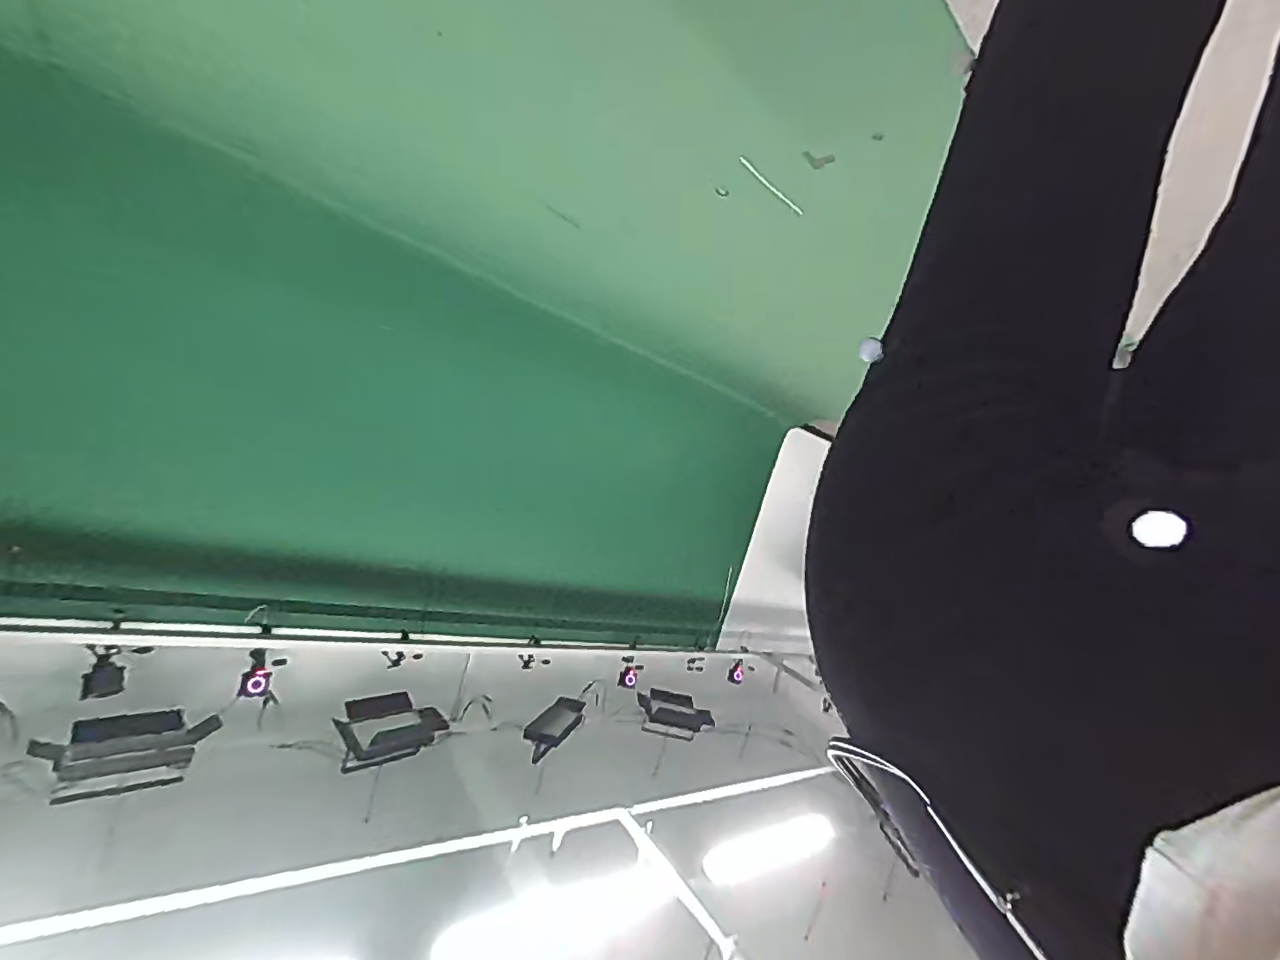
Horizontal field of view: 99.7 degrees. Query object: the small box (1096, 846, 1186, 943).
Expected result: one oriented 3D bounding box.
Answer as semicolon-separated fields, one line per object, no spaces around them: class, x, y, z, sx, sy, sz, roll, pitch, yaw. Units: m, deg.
small box;1.555;1.267;1.678;0.179;0.176;0.168;15;-177;-41
